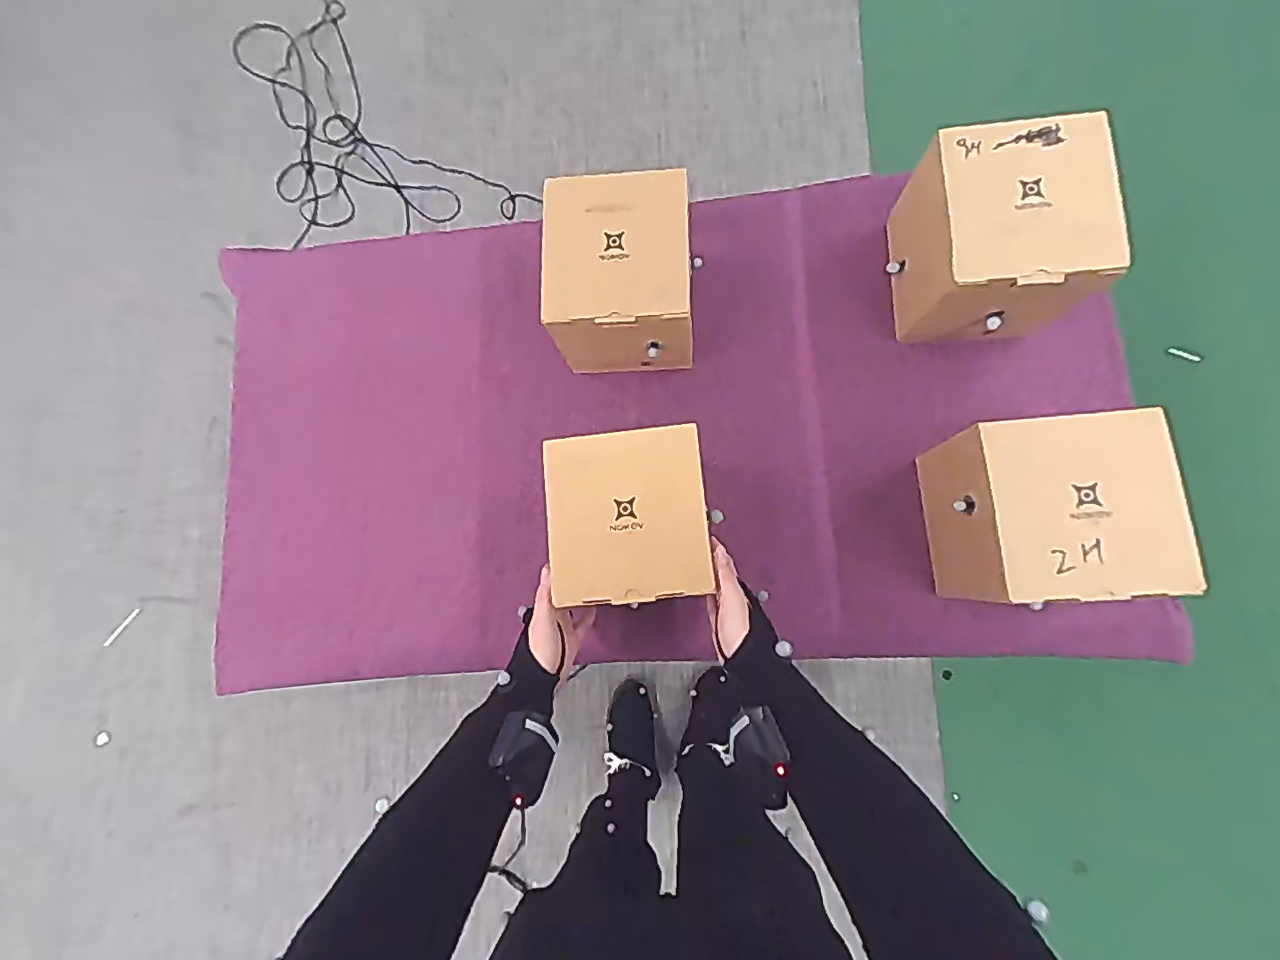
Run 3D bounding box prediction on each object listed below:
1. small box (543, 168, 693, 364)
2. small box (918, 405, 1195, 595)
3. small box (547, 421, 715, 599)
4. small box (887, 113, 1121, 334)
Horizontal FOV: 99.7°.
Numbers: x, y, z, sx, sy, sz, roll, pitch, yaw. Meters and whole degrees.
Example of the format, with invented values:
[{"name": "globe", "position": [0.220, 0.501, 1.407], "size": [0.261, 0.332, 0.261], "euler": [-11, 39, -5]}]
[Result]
[{"name": "small box", "position": [-0.018, -0.252, 0.679], "size": [0.168, 0.176, 0.179], "euler": [-1, 82, 5]}, {"name": "small box", "position": [0.422, 0.031, 0.585], "size": [0.168, 0.176, 0.179], "euler": [-4, 81, 7]}, {"name": "small box", "position": [-0.006, 0.042, 0.634], "size": [0.168, 0.176, 0.179], "euler": [-6, 81, 5]}, {"name": "small box", "position": [0.406, -0.280, 0.634], "size": [0.168, 0.176, 0.179], "euler": [-2, 84, 6]}]
